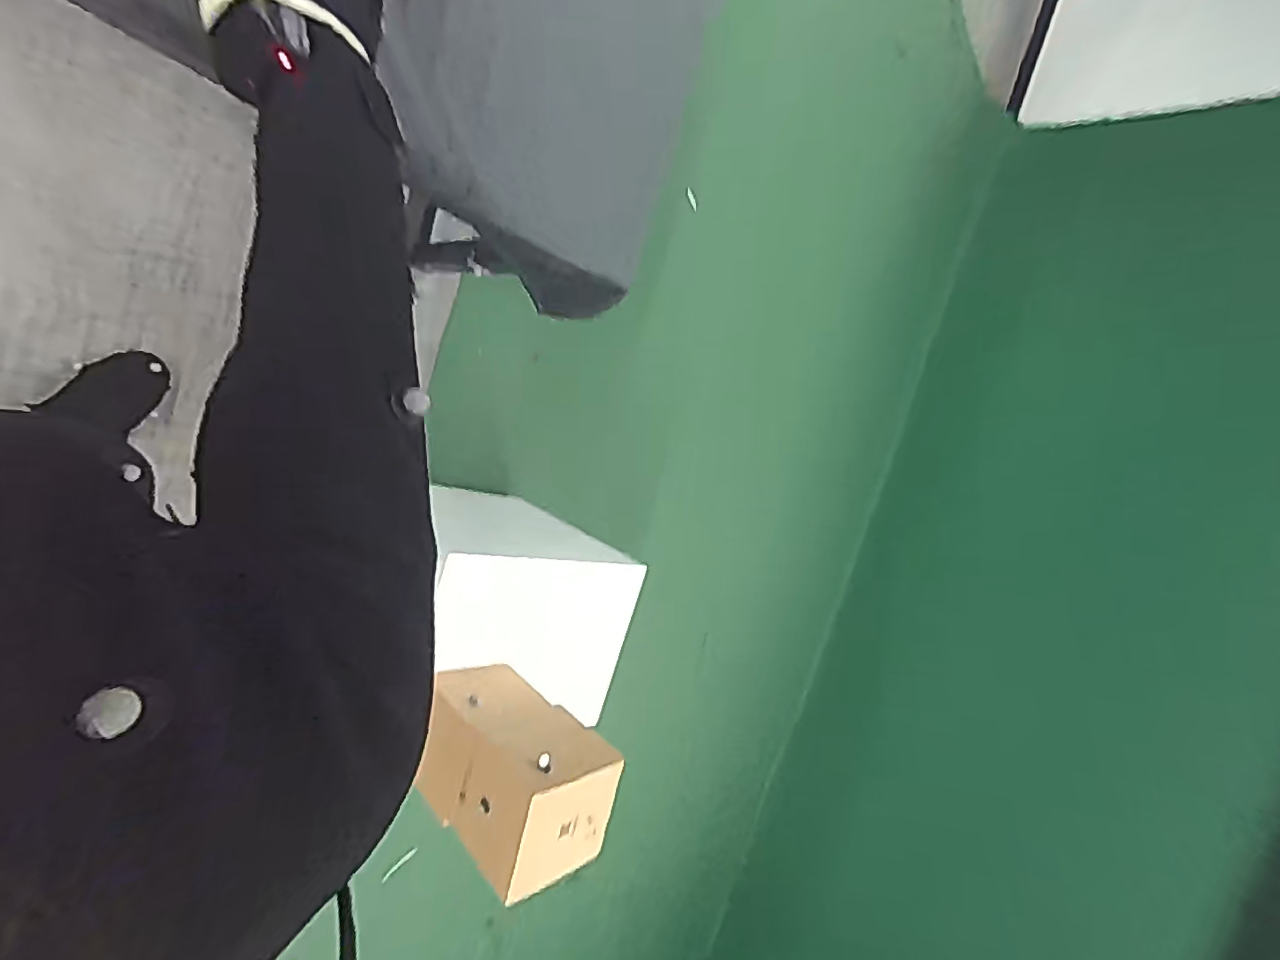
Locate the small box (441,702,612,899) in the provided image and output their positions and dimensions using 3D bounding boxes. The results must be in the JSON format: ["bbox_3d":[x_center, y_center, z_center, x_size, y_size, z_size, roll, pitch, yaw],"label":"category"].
[{"bbox_3d":[-0.176,0.469,0.826,0.179,0.176,0.168,8,99,-48],"label":"small box"}]
